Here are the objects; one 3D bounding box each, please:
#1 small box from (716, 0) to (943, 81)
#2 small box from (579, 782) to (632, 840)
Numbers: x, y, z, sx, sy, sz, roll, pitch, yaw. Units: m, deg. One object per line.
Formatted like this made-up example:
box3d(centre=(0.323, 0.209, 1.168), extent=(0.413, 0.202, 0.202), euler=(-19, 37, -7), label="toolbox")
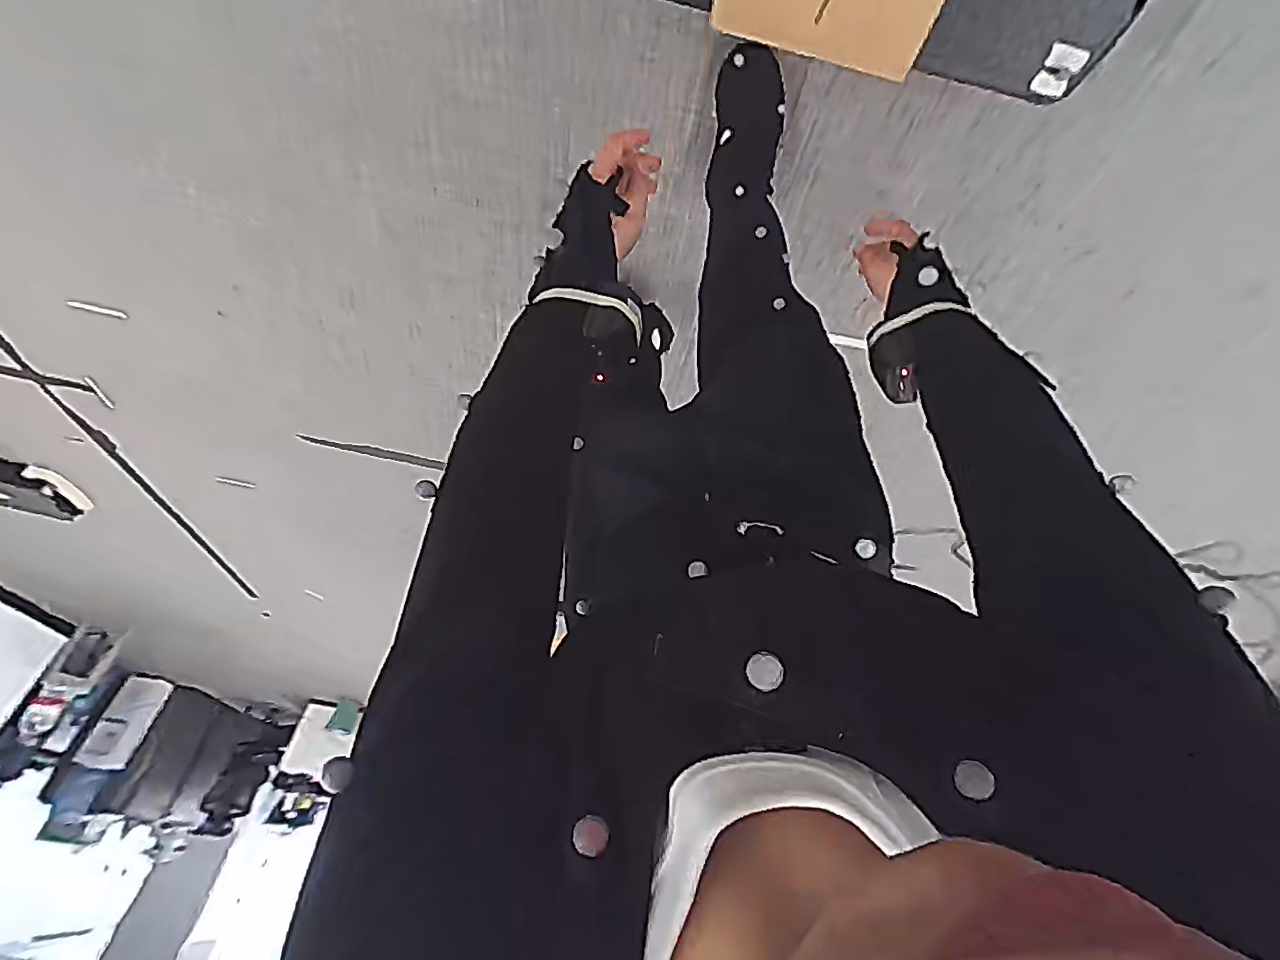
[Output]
box3d(centre=(0.163, -0.458, 0.418), extent=(0.168, 0.176, 0.179), euler=(13, 142, -5), label="small box")
box3d(centre=(-0.134, 1.309, 2.138), extent=(0.179, 0.176, 0.168), euler=(13, 143, -4), label="small box")
